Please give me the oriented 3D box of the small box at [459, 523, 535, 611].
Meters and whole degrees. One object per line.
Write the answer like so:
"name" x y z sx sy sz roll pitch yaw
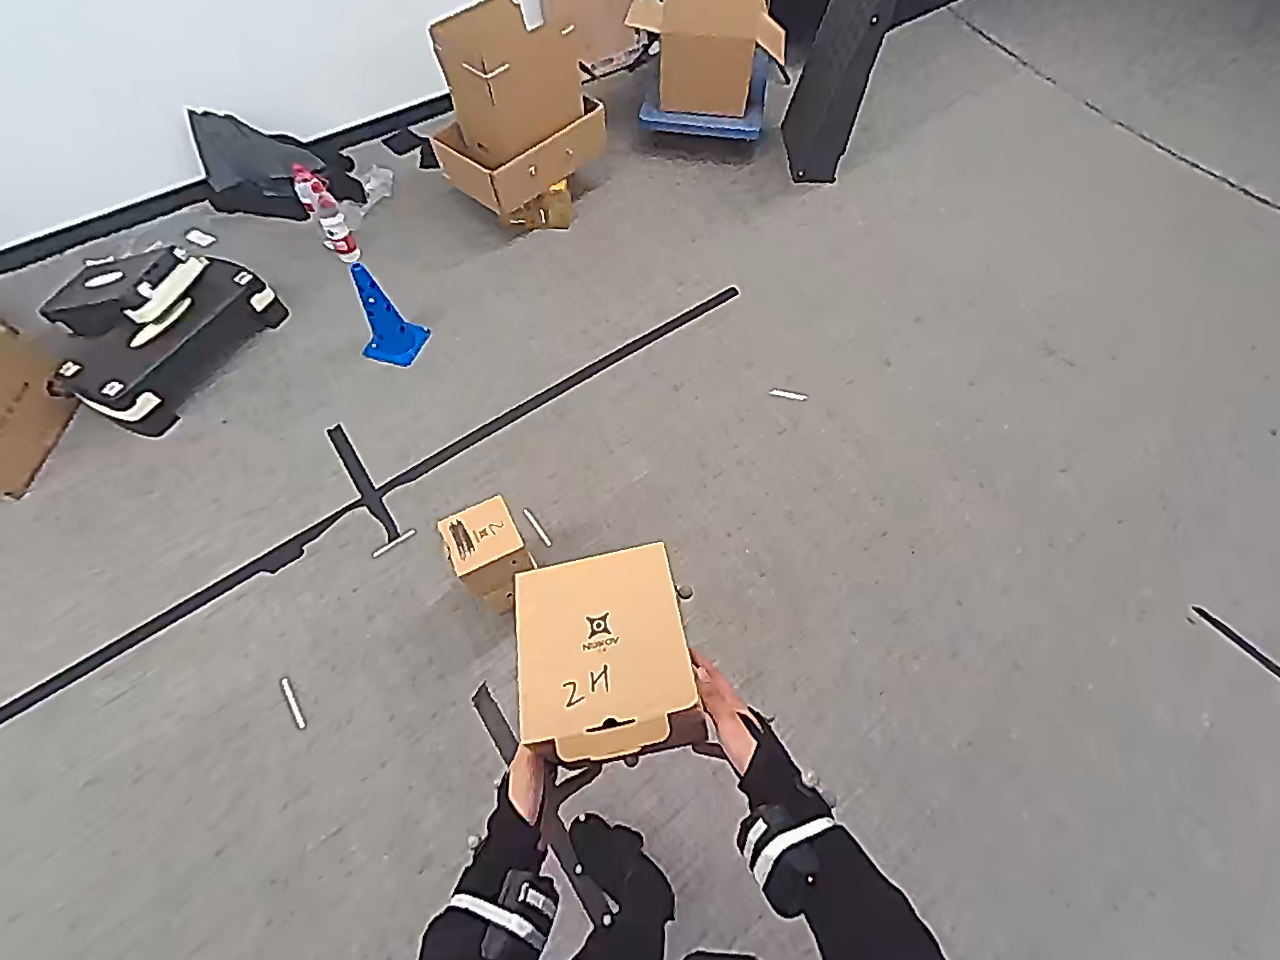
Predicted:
"small box" -0.392 0.260 1.560 0.168 0.176 0.179 -29 65 -16

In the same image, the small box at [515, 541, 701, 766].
"small box" -0.032 0.195 0.595 0.168 0.176 0.179 -13 55 2
